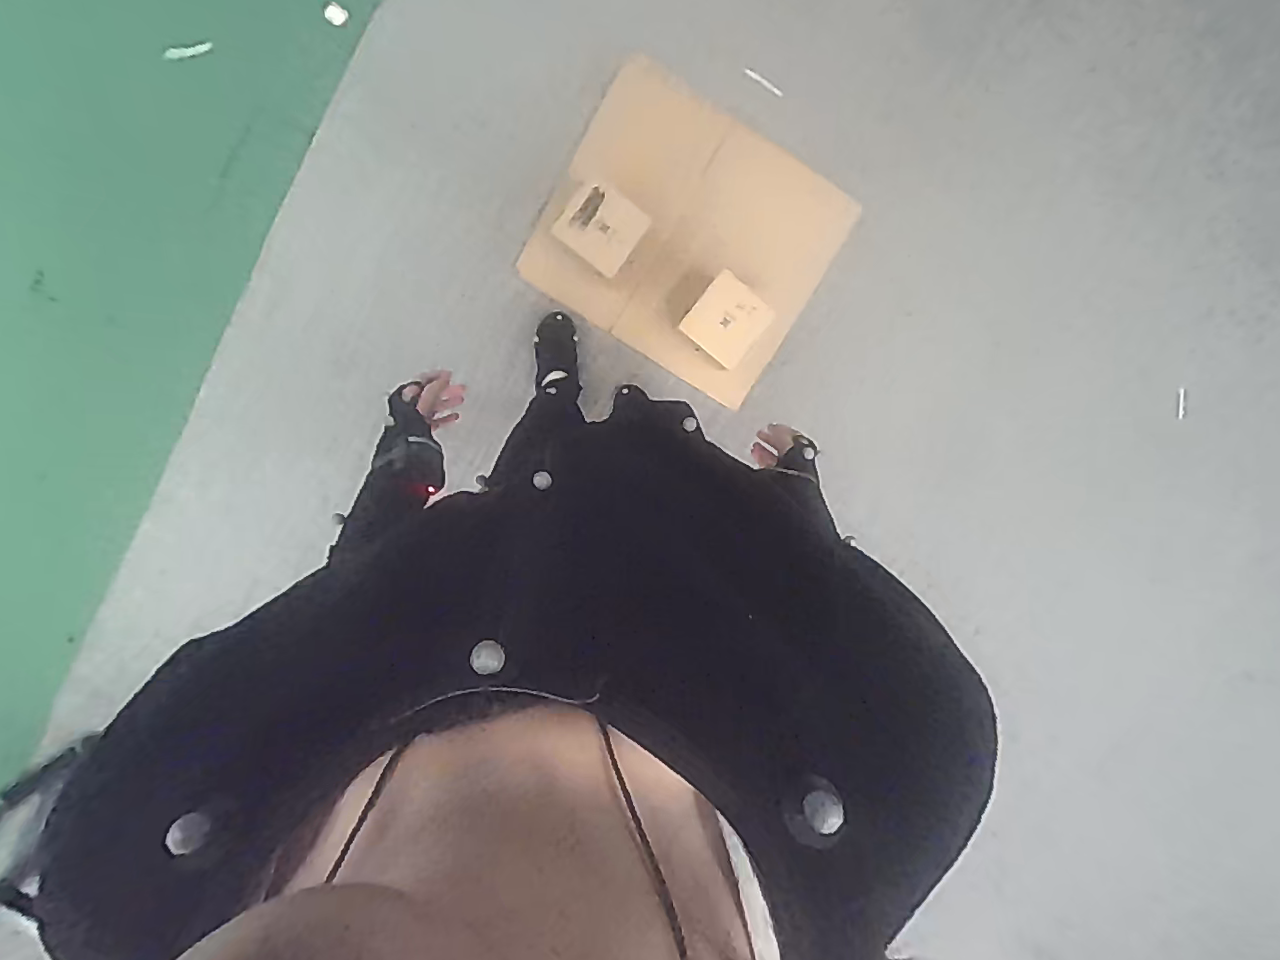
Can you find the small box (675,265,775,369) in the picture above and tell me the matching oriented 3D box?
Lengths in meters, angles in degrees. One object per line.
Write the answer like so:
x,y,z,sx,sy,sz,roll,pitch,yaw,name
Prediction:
0.199,-0.391,1.332,0.168,0.176,0.179,39,98,-9,small box
